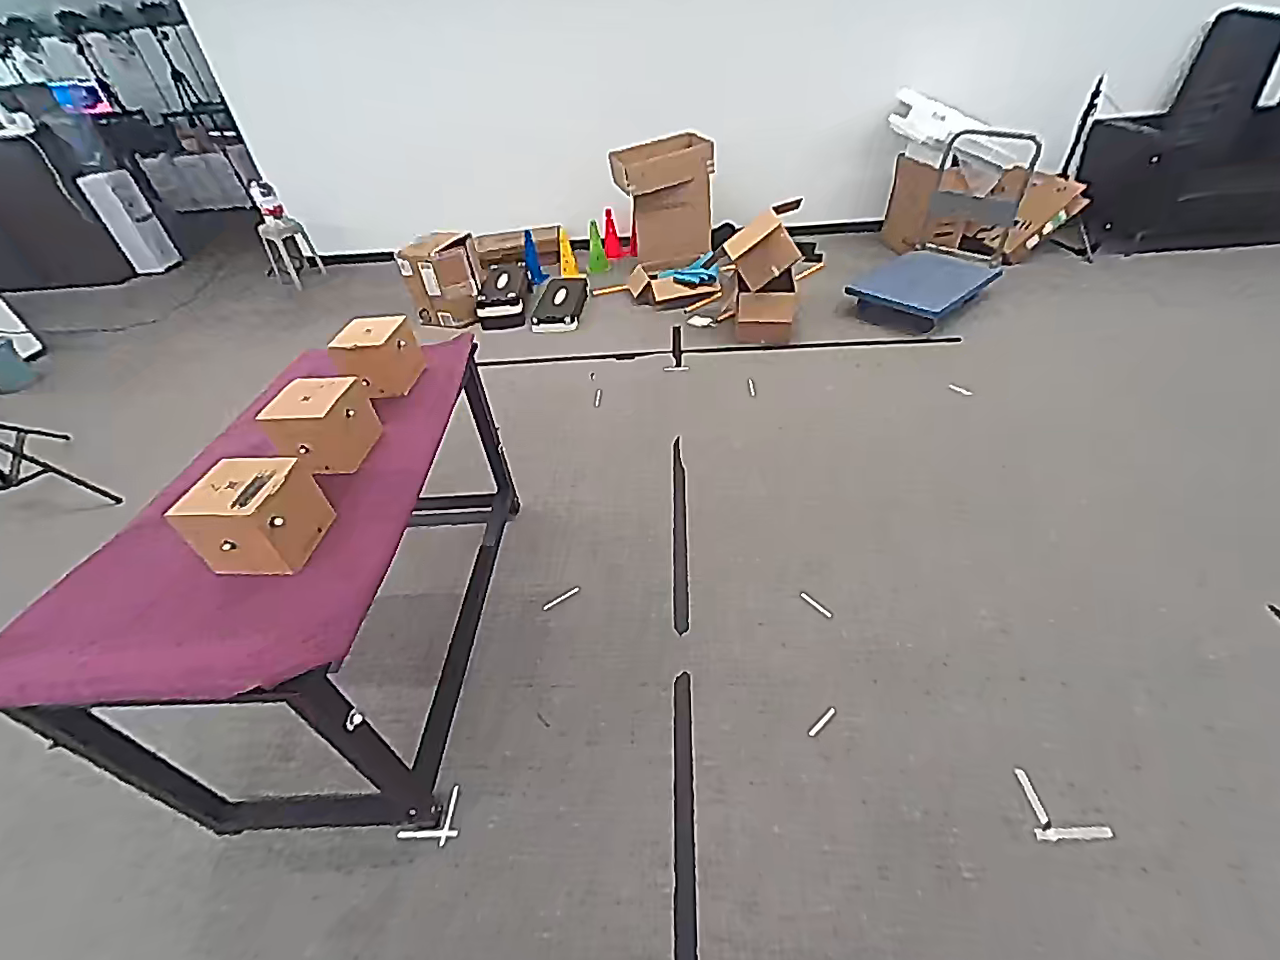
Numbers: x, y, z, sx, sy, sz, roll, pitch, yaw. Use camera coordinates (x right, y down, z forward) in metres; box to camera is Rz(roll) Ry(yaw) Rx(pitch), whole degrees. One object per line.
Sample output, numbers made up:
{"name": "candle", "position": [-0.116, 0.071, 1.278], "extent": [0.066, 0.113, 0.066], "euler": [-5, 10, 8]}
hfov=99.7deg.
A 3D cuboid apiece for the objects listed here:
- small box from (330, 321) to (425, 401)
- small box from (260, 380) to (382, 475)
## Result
{"name": "small box", "position": [-0.748, -0.344, 1.568], "extent": [0.168, 0.176, 0.179], "euler": [-2, 42, 6]}
{"name": "small box", "position": [-0.760, -0.124, 1.315], "extent": [0.168, 0.176, 0.179], "euler": [-1, 41, 5]}
